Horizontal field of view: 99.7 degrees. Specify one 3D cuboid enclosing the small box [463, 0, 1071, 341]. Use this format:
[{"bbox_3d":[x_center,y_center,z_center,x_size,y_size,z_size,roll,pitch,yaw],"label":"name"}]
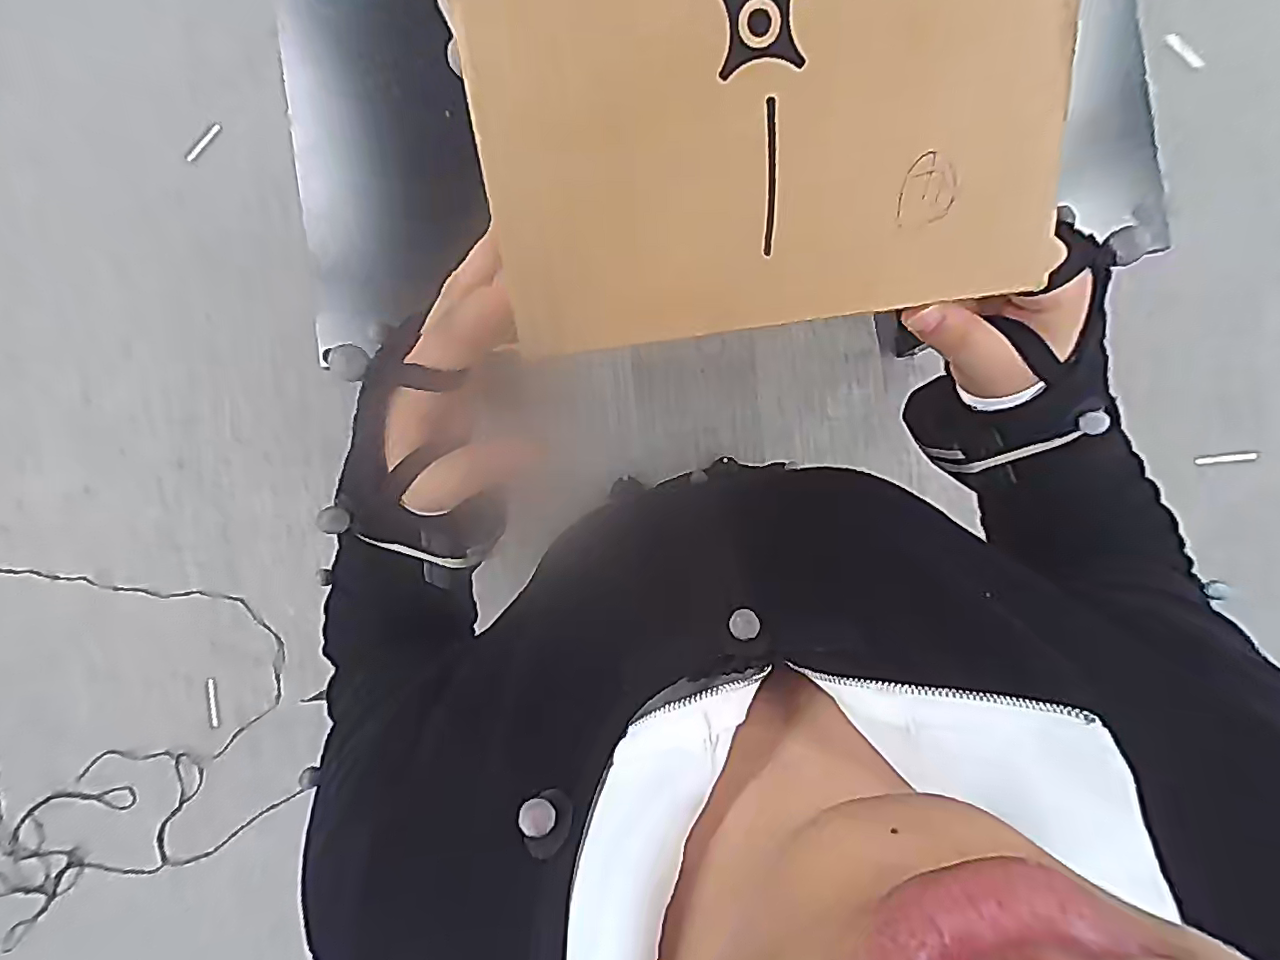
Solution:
[{"bbox_3d":[0.032,-0.158,0.221,0.168,0.176,0.179,-7,108,2],"label":"small box"}]
